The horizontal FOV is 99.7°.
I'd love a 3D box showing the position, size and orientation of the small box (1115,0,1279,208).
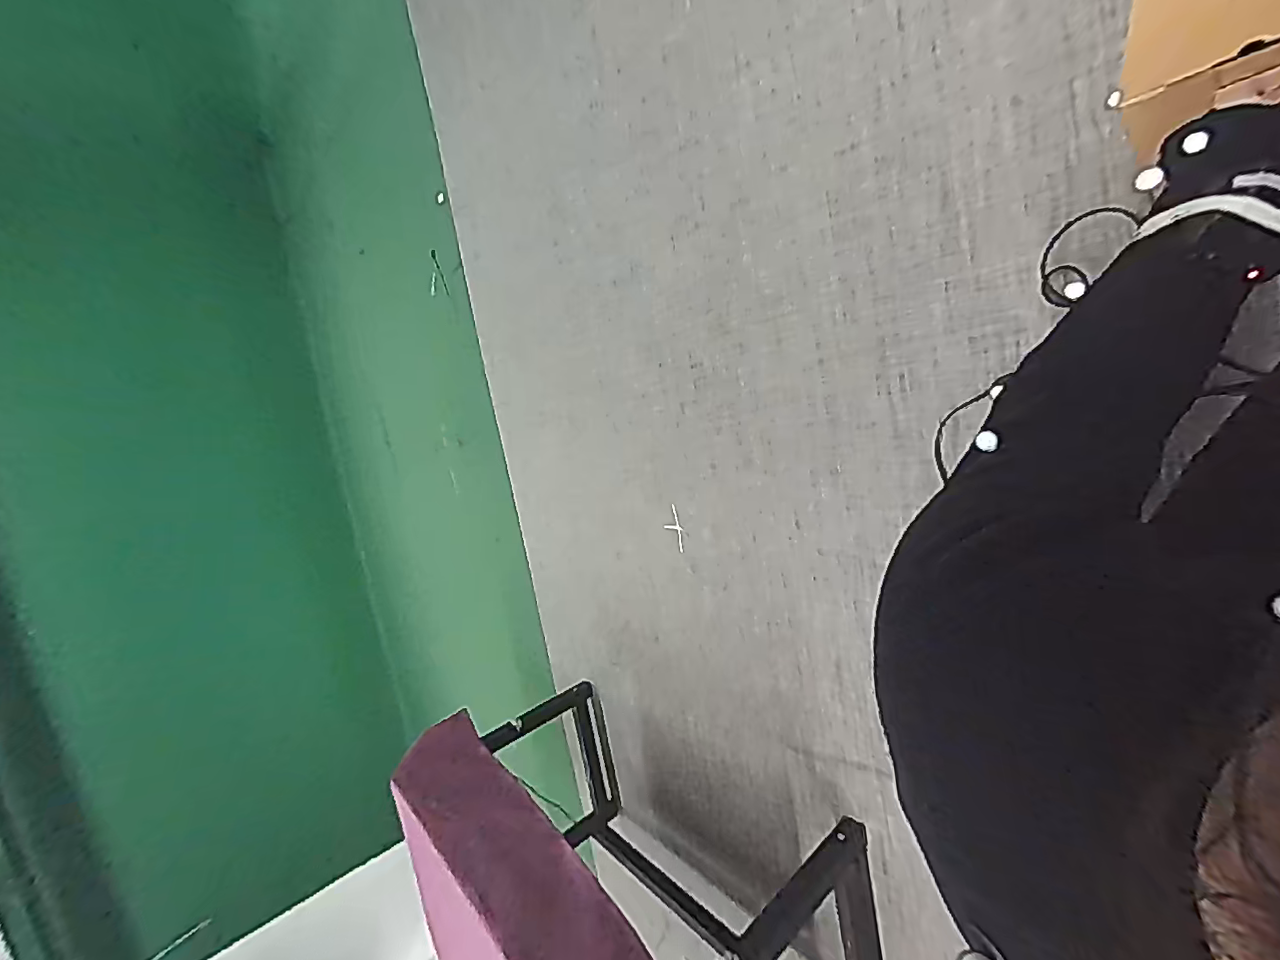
[{"bbox_3d":[0.572,-0.395,0.494,0.168,0.176,0.179,4,76,54],"label":"small box"}]
